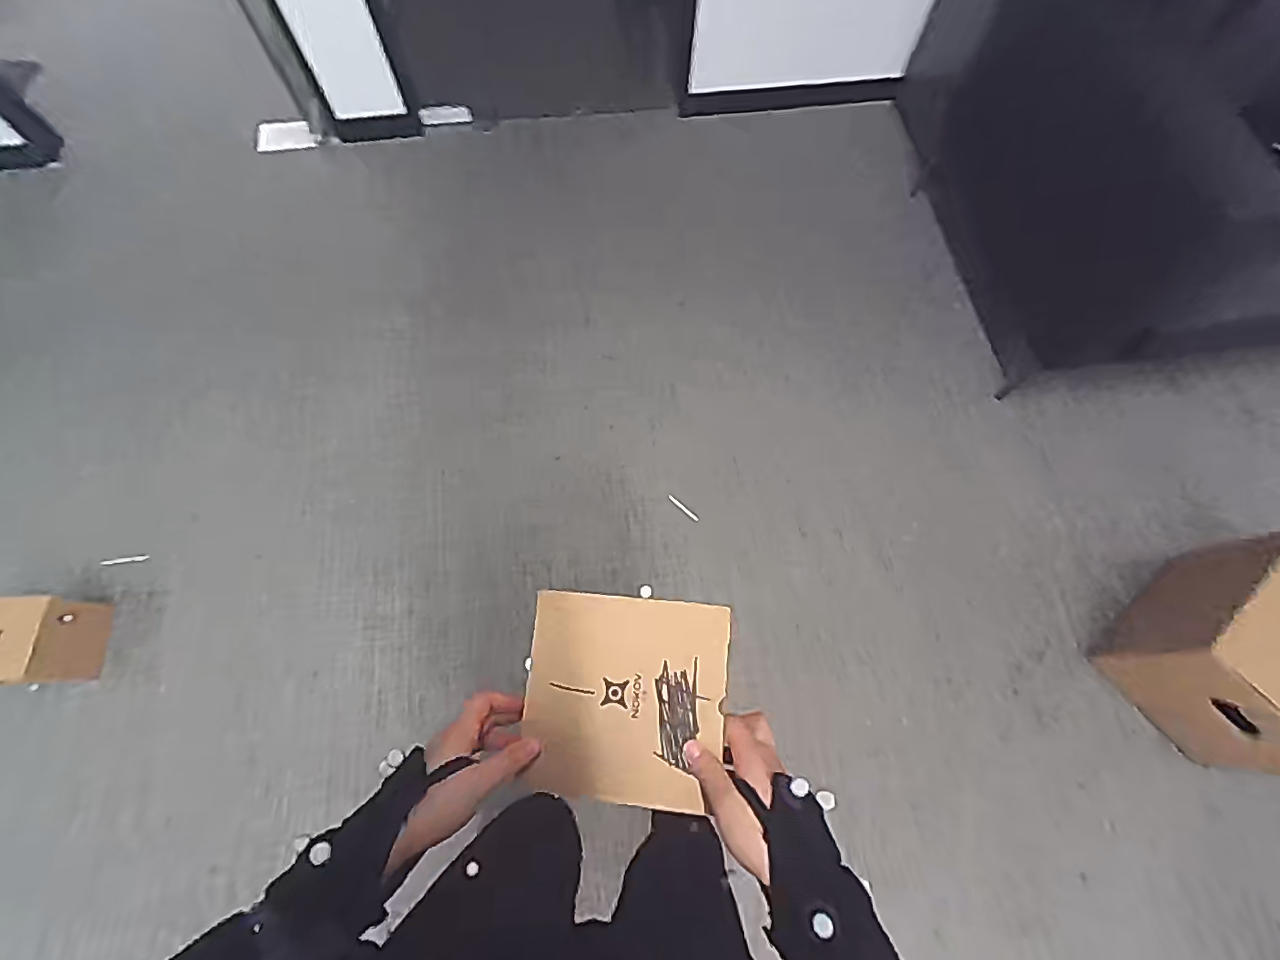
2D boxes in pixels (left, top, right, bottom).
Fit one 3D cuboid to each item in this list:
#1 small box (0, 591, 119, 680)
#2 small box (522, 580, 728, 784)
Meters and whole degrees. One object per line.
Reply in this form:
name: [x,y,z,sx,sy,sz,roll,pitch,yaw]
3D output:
small box: [-1.338,0.352,1.211,0.168,0.176,0.179,-2,69,-2]
small box: [-0.014,0.198,0.566,0.179,0.176,0.168,5,75,-1]
